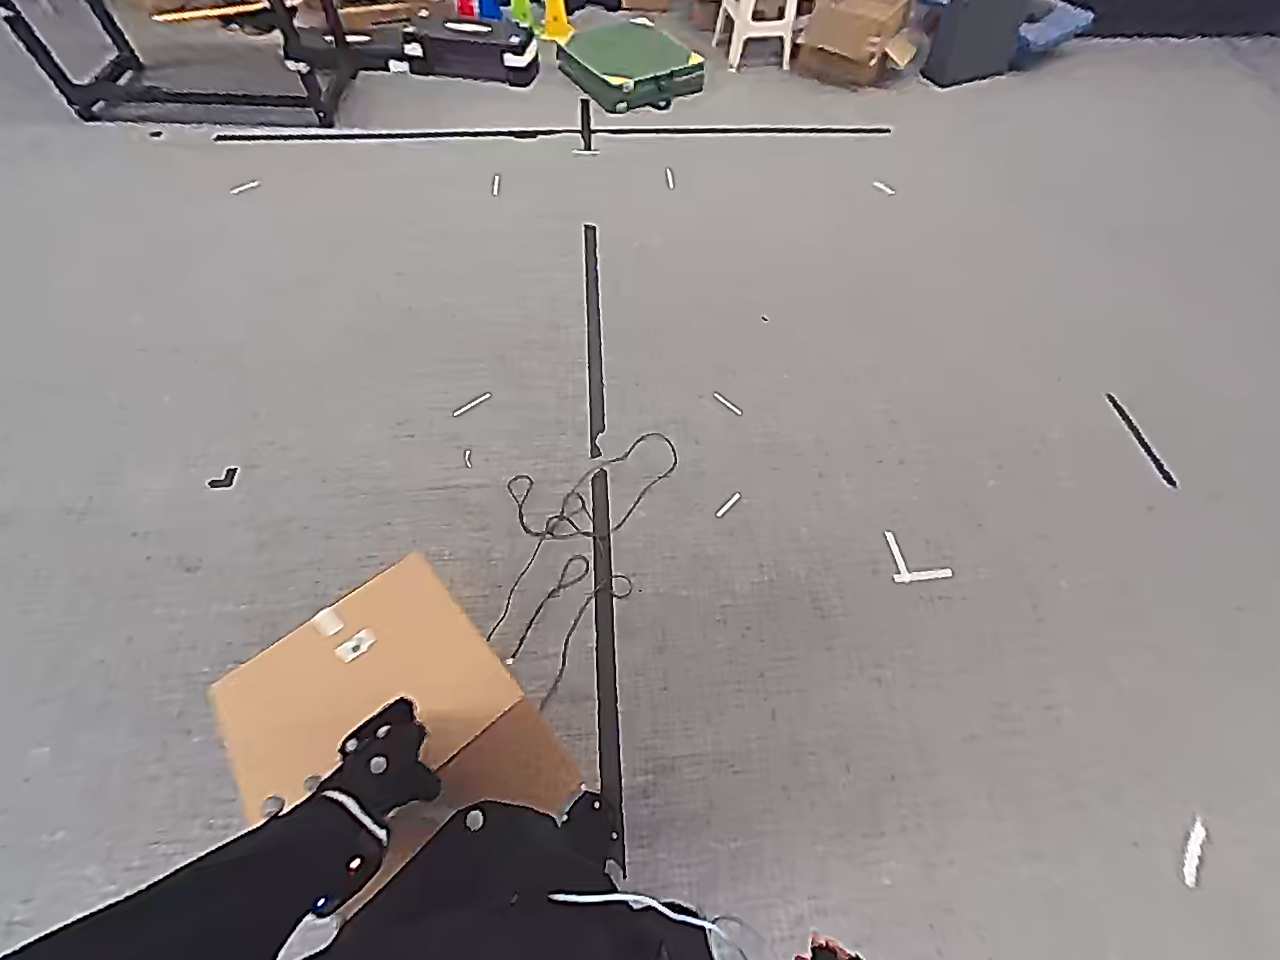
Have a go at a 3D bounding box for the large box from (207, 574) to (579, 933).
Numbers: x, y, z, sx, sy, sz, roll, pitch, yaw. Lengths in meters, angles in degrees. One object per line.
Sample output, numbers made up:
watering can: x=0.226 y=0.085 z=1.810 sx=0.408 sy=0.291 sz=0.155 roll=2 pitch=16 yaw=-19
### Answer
large box: x=-0.343 y=0.423 z=0.838 sx=0.320 sy=0.408 sz=0.320 roll=-38 pitch=54 yaw=-23
